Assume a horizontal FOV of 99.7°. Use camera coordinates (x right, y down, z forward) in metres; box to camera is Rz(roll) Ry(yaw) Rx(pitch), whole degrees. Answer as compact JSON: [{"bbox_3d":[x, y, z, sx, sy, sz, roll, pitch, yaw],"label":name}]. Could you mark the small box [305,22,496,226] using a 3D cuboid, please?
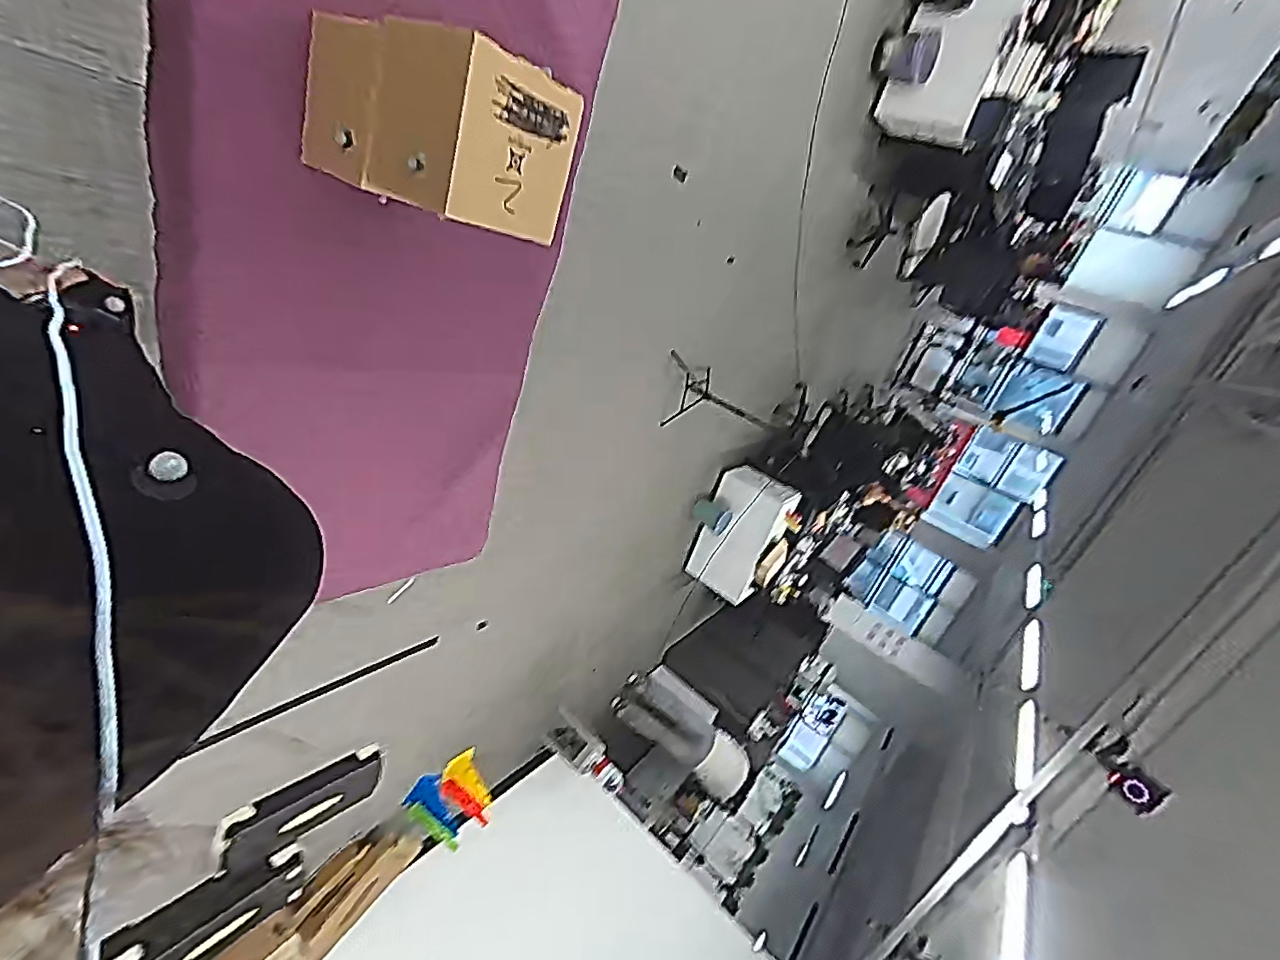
[{"bbox_3d":[-0.332,-0.480,0.740,0.168,0.176,0.179,-12,129,-54],"label":"small box"}]
